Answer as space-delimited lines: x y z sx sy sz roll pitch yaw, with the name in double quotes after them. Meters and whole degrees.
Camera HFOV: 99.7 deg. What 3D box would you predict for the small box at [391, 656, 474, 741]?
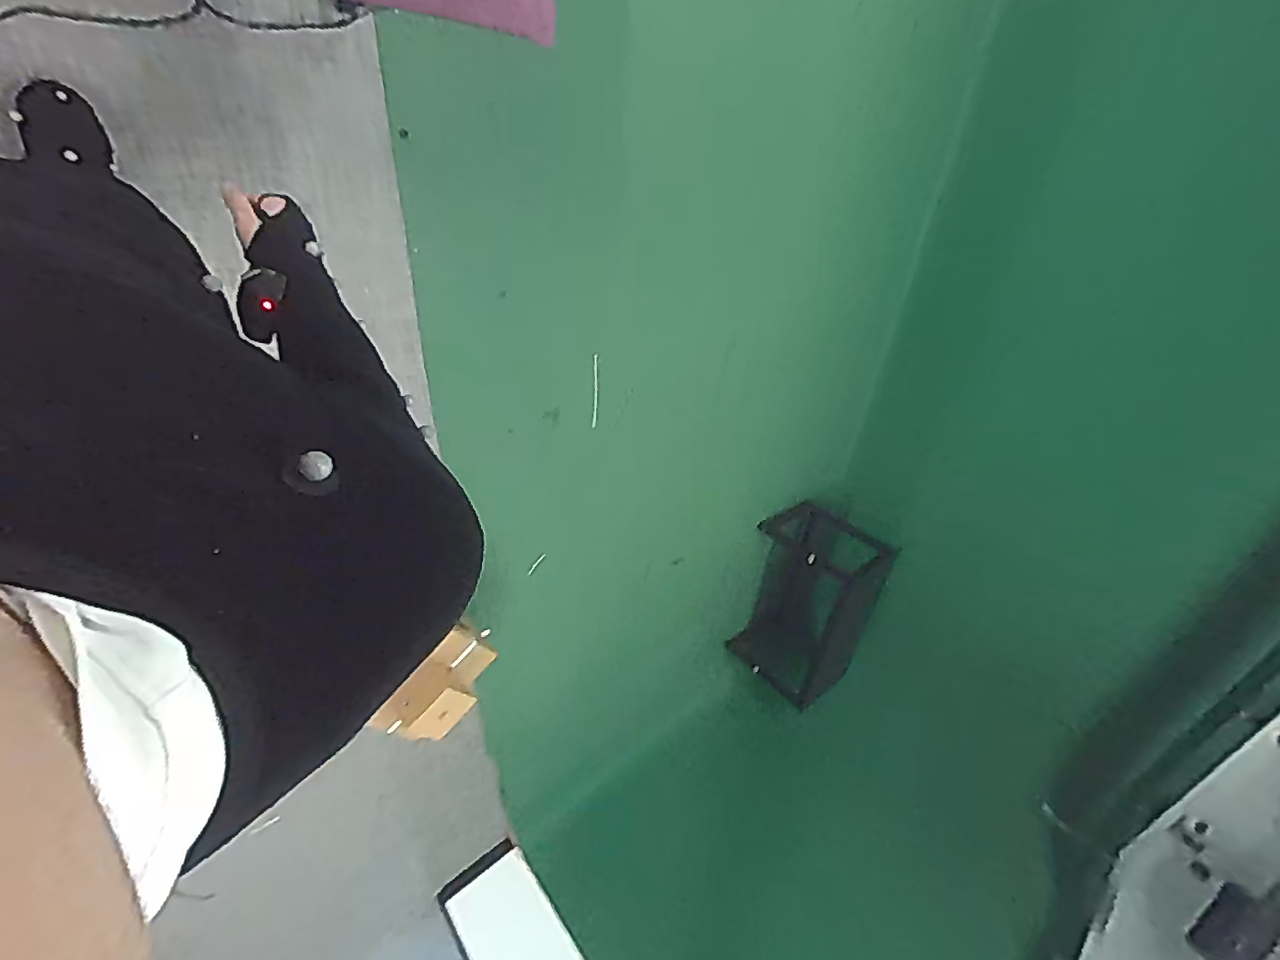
-0.696 0.721 1.791 0.179 0.176 0.168 -46 141 -12 "small box"
